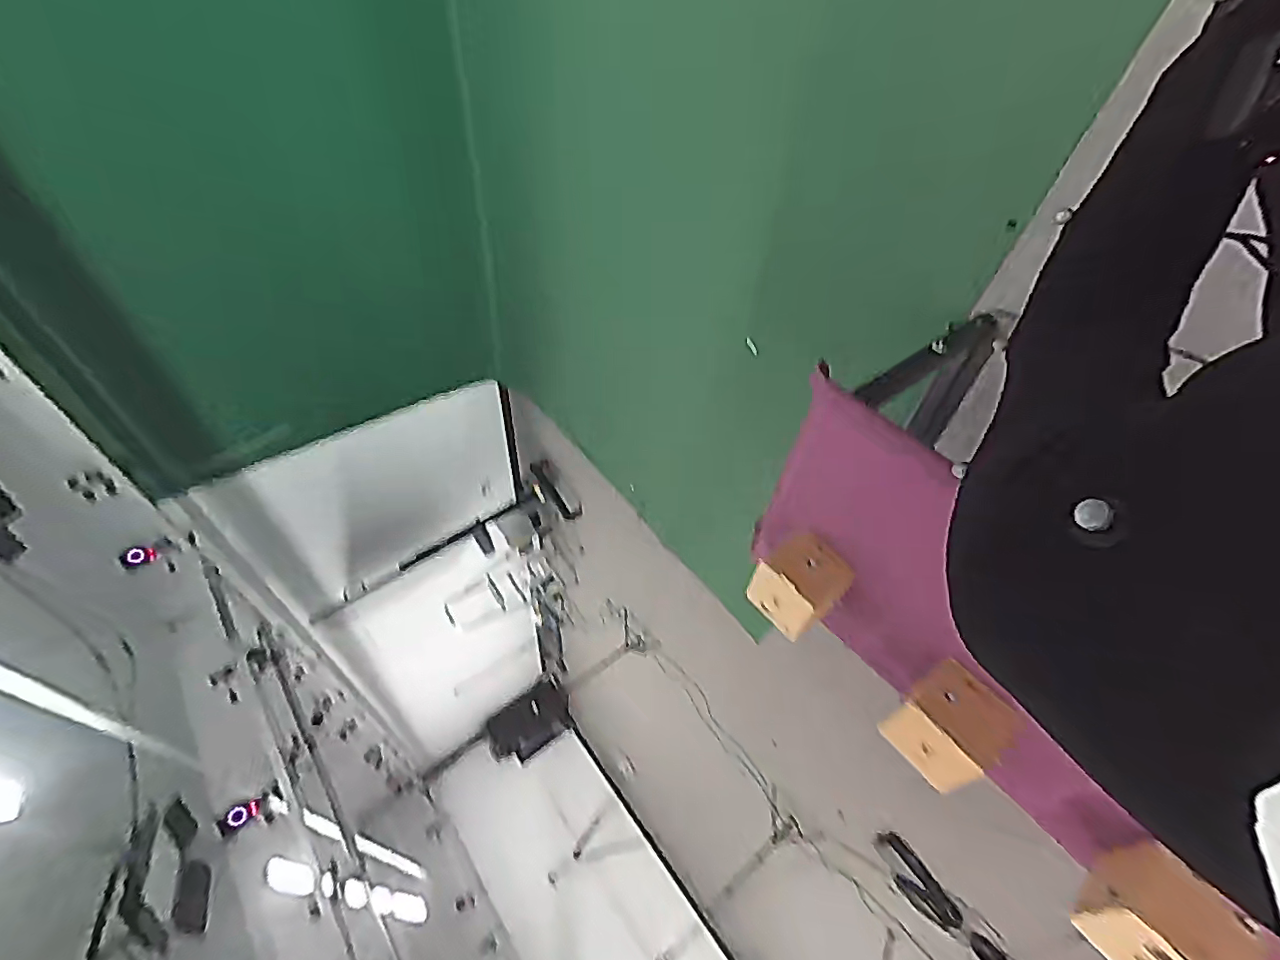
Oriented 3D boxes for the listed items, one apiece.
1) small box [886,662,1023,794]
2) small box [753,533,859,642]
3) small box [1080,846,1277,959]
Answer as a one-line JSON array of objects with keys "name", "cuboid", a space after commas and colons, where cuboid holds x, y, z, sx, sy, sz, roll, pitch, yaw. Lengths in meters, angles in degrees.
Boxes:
[{"name": "small box", "cuboid": [0.676, 0.527, 1.161, 0.168, 0.176, 0.179, 45, 149, 30]}, {"name": "small box", "cuboid": [0.418, 0.264, 1.355, 0.168, 0.176, 0.179, 45, 148, 29]}, {"name": "small box", "cuboid": [0.937, 0.781, 0.944, 0.168, 0.176, 0.179, 44, 149, 31]}]
